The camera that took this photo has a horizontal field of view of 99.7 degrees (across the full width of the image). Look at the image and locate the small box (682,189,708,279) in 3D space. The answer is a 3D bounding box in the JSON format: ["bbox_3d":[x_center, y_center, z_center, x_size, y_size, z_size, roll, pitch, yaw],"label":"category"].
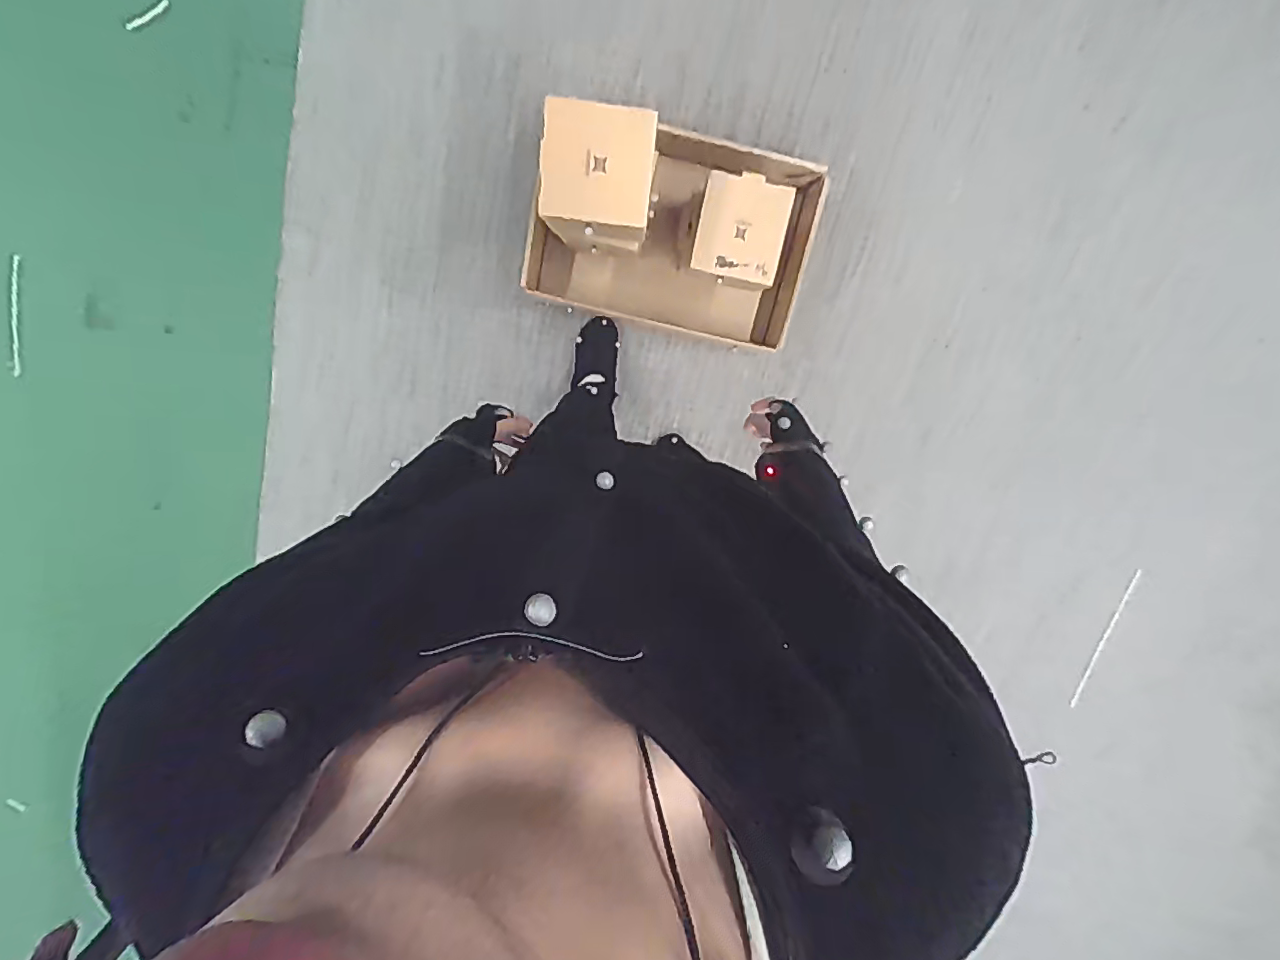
[{"bbox_3d":[0.194,-0.547,1.242,0.179,0.176,0.168,7,105,-1],"label":"small box"}]

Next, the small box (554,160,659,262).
[{"bbox_3d":[-0.063,-0.545,1.073,0.168,0.176,0.179,13,105,-5],"label":"small box"}]

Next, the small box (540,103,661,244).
[{"bbox_3d":[-0.064,-0.504,0.916,0.179,0.176,0.168,6,106,-2],"label":"small box"}]

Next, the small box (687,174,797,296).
[{"bbox_3d":[0.195,-0.482,1.090,0.168,0.176,0.179,11,104,-2],"label":"small box"}]
